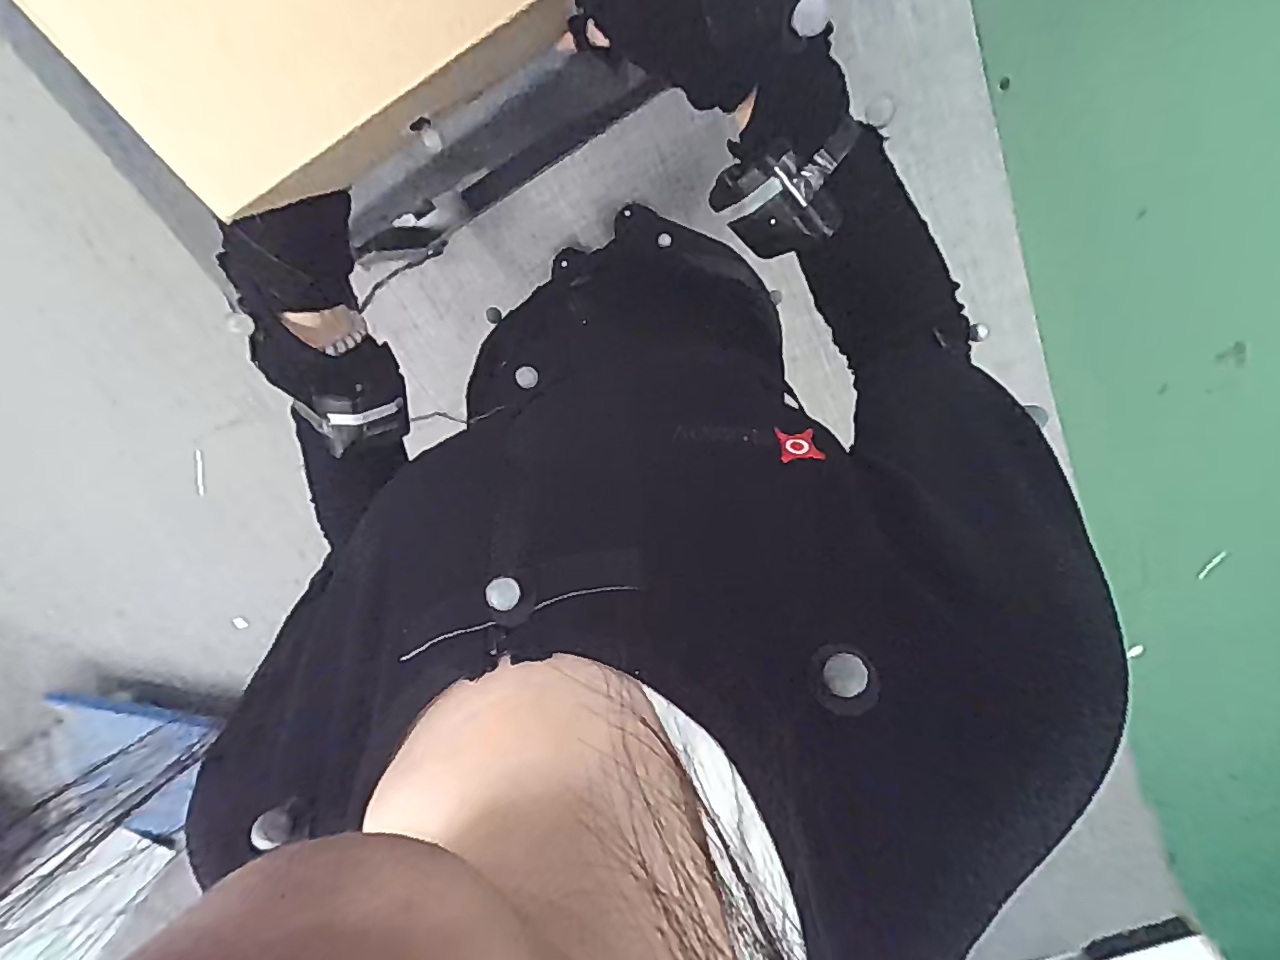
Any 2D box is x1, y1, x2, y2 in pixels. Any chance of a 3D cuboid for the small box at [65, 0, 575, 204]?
[{"bbox_3d":[-0.136,-0.249,0.224,0.168,0.176,0.179,-28,123,7],"label":"small box"}]
